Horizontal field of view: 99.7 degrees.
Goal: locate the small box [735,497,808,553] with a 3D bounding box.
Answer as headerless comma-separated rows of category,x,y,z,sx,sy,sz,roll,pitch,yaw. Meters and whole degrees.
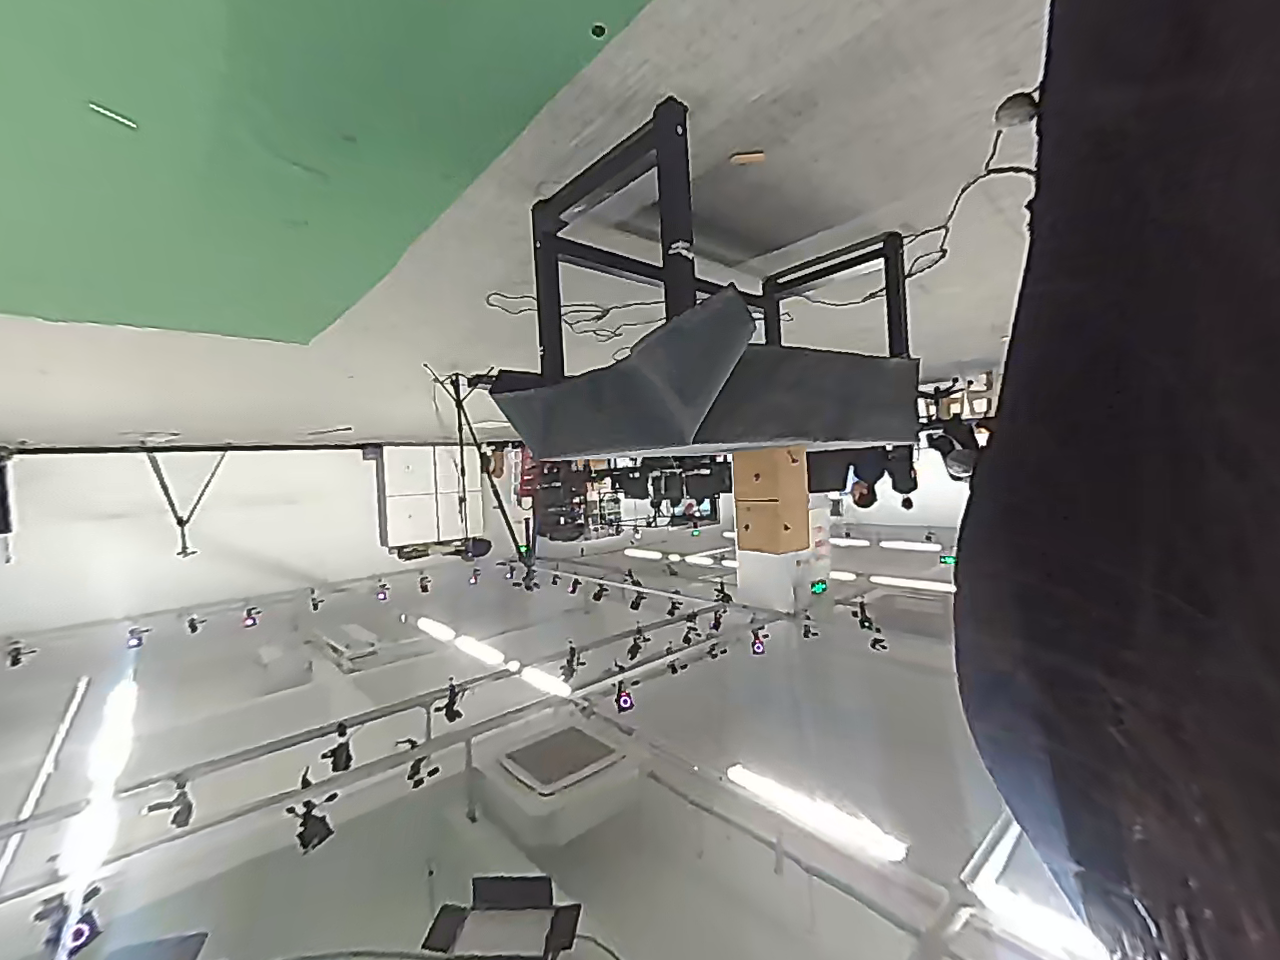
small box,0.421,0.137,1.745,0.179,0.176,0.168,-4,-178,-40

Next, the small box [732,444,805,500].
small box,0.413,-0.026,1.738,0.168,0.176,0.179,-4,-179,-43
